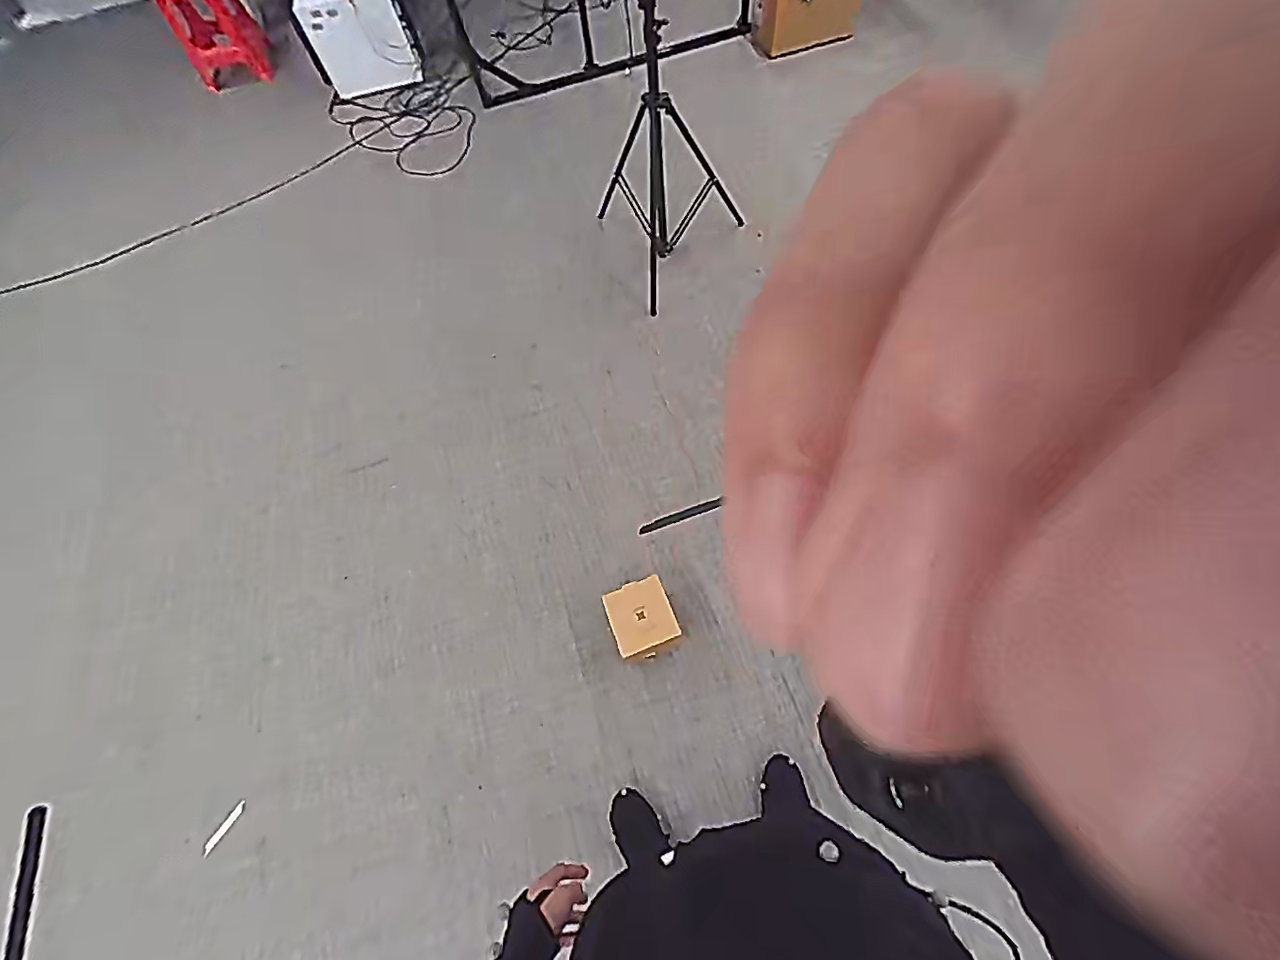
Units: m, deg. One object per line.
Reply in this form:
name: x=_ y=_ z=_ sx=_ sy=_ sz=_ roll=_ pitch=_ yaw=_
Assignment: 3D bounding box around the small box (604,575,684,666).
small box: x=0.013 y=0.388 z=1.479 sx=0.168 sy=0.176 sz=0.179 roll=-21 pitch=64 yaw=-4
